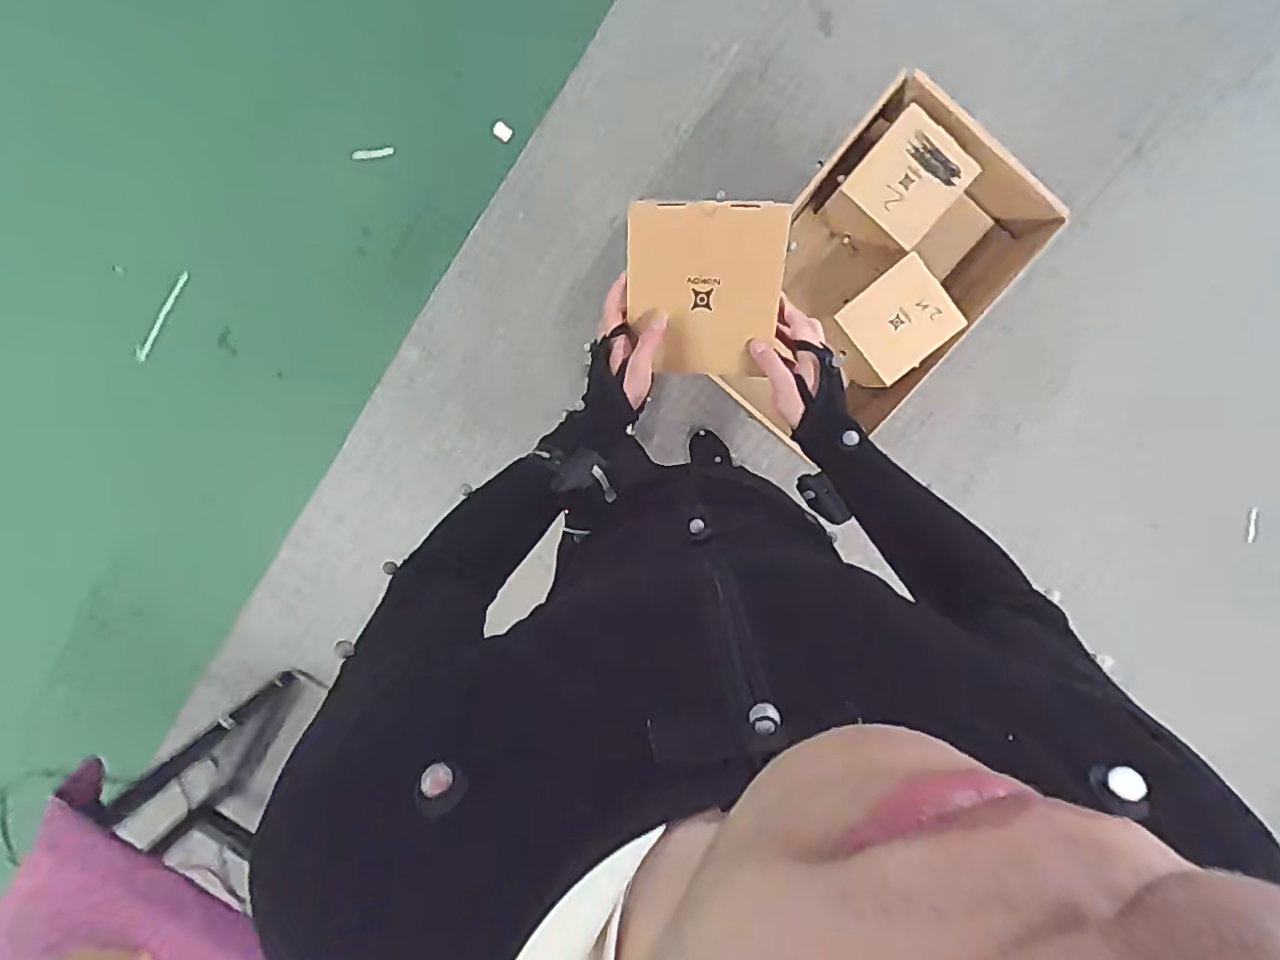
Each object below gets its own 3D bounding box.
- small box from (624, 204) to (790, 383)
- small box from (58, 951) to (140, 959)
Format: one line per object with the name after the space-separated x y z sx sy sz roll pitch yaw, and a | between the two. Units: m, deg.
0.074 -0.227 0.641 0.168 0.176 0.179 3 117 5 | small box
-1.119 1.065 1.048 0.179 0.176 0.168 2 100 2 | small box
